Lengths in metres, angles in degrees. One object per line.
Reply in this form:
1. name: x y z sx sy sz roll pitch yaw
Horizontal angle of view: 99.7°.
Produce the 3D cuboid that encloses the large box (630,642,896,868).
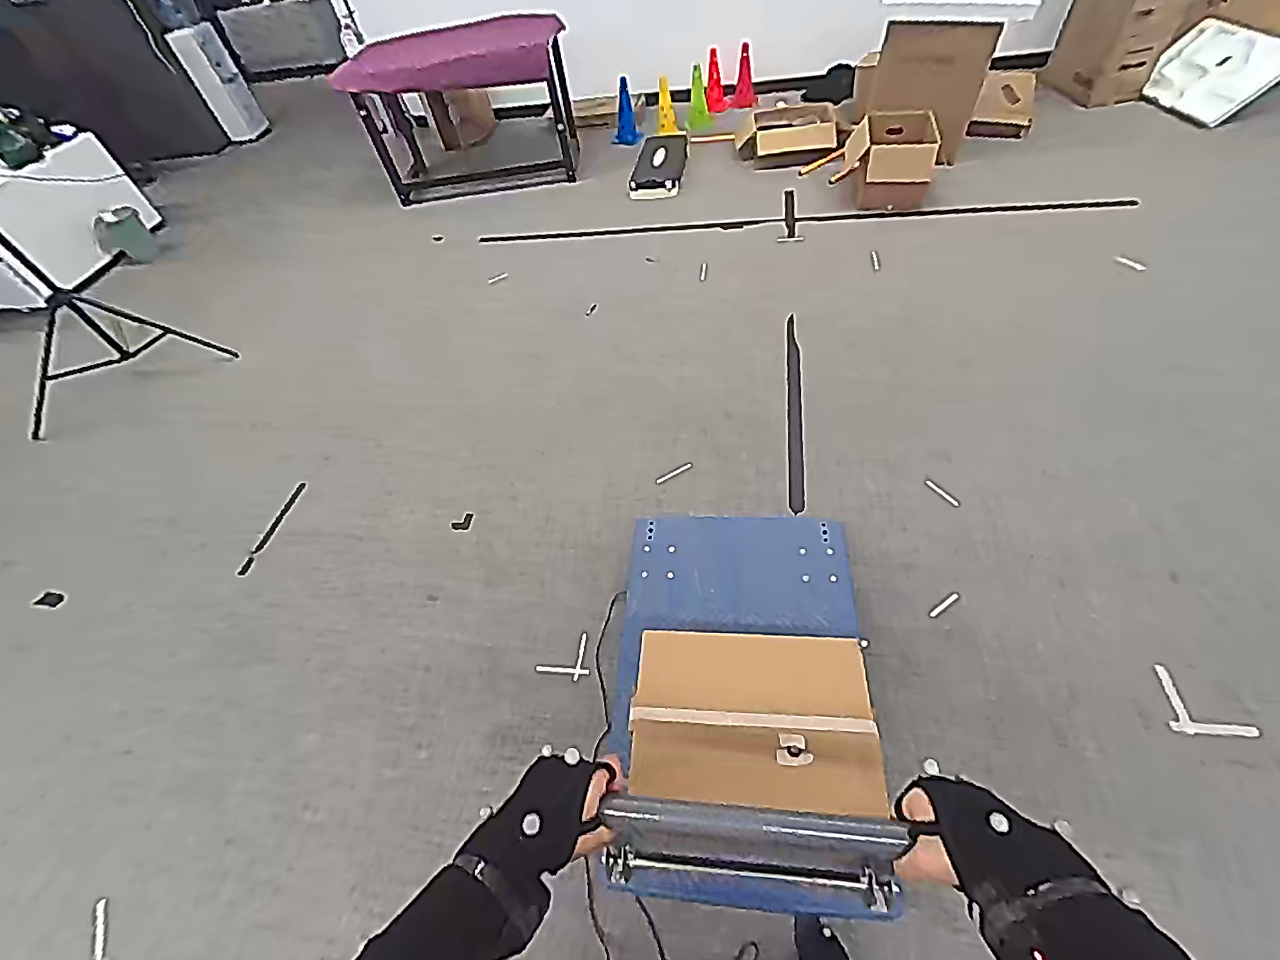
1. large box: 0.204 0.519 1.021 0.408 0.320 0.320 -1 50 8
